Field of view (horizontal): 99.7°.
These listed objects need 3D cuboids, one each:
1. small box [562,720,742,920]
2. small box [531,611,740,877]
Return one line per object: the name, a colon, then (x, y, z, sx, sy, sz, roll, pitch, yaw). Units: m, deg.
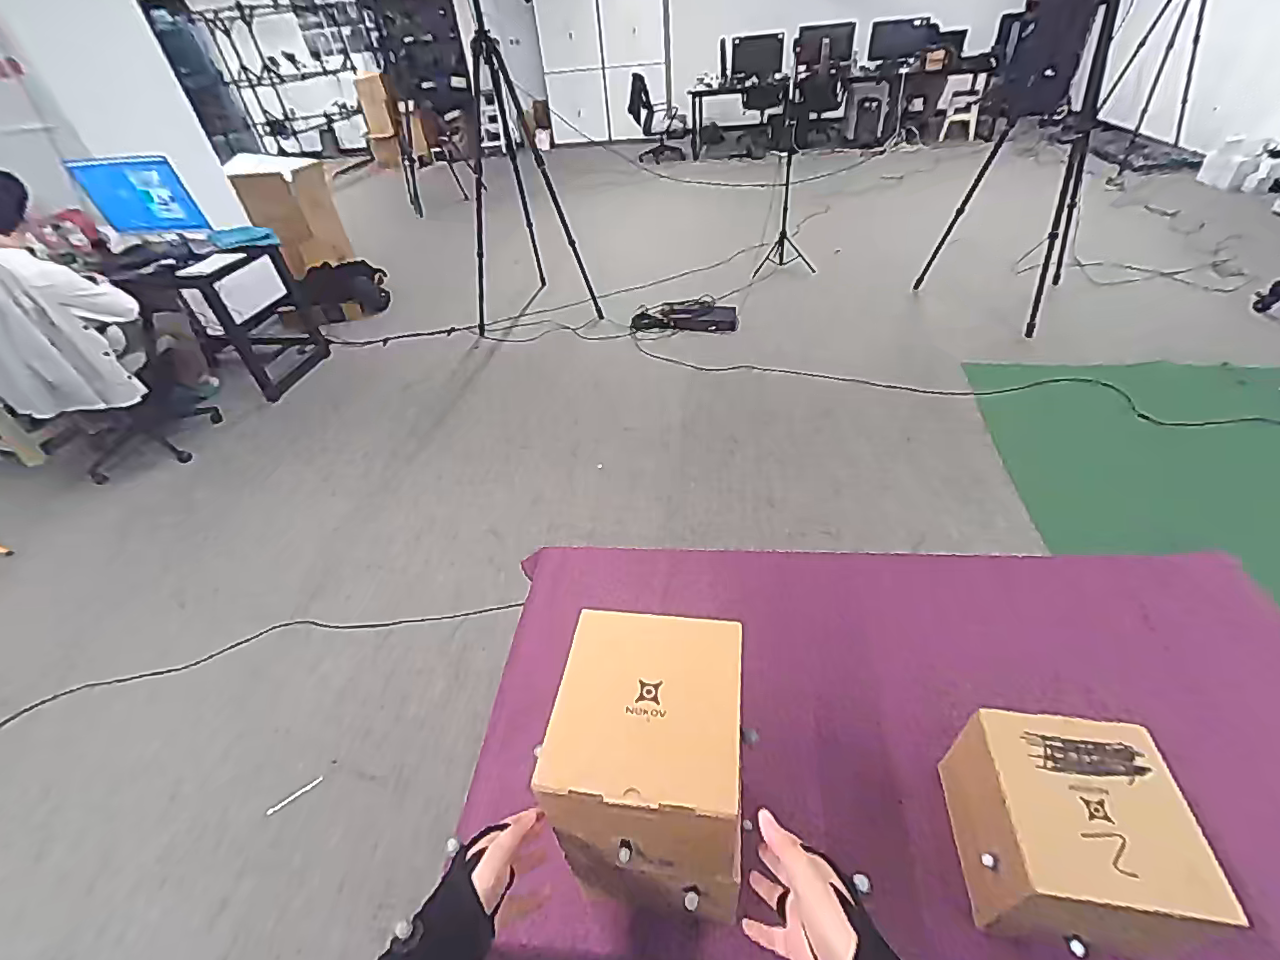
small box: (0.027, 0.387, 0.632, 0.179, 0.176, 0.168, 1, 40, 10)
small box: (0.010, 0.257, 0.535, 0.168, 0.176, 0.179, 2, 42, 10)
